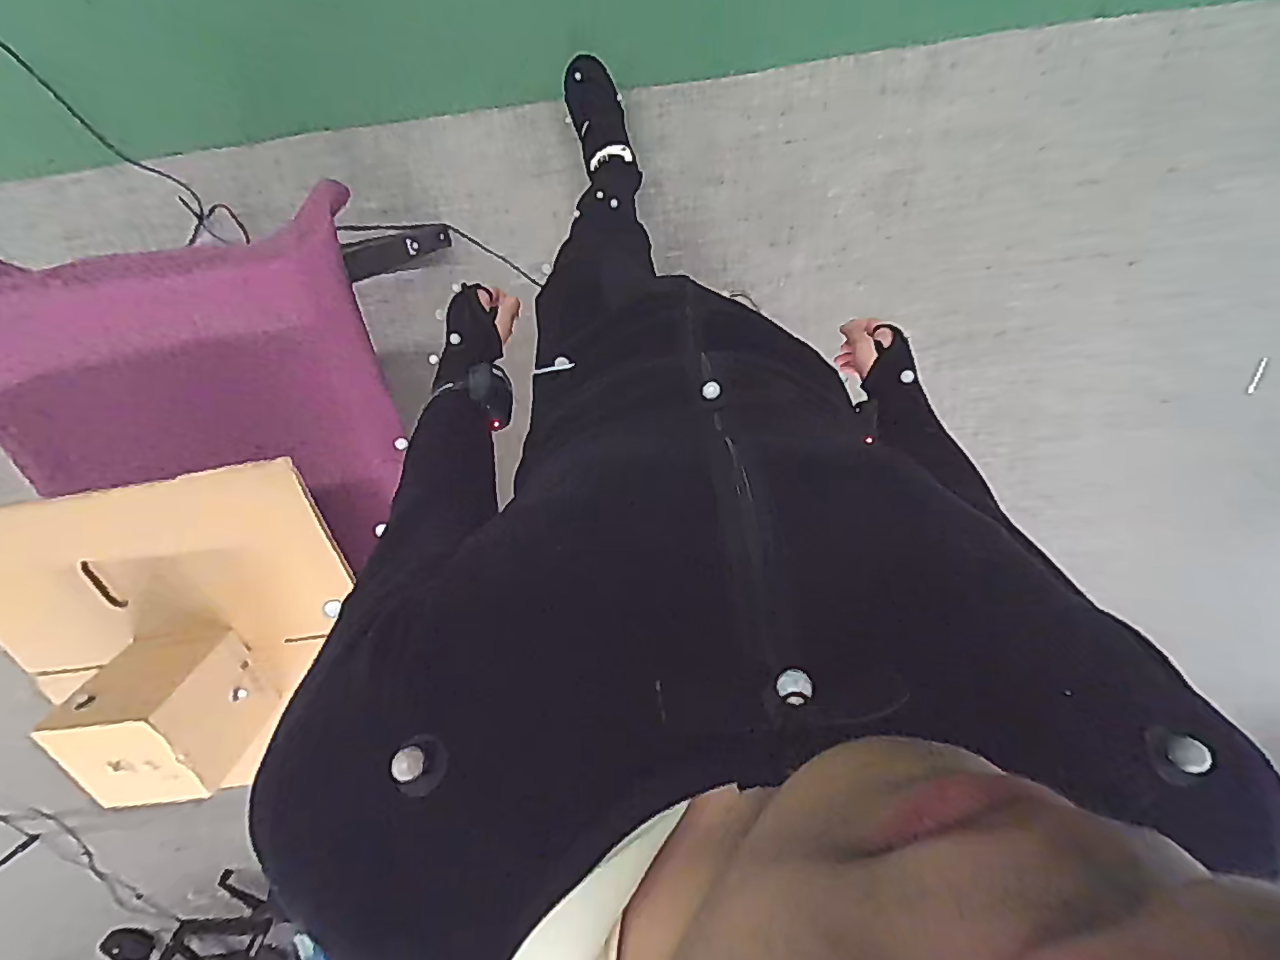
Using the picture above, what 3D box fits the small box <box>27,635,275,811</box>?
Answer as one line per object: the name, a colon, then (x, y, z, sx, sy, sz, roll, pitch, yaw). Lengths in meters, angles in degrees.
small box: (-0.697, 0.352, 0.798, 0.179, 0.176, 0.168, -8, 117, 4)
